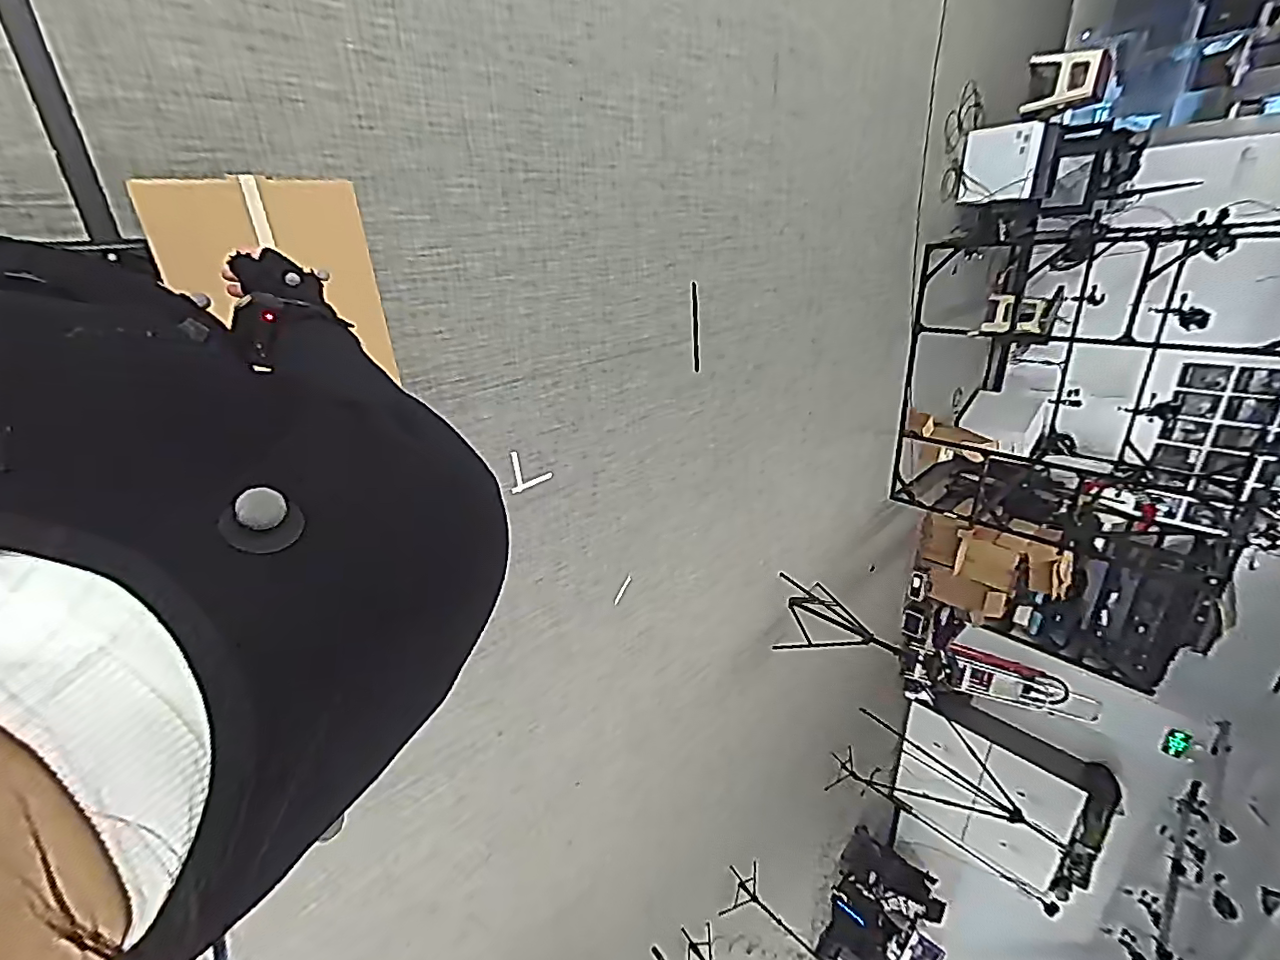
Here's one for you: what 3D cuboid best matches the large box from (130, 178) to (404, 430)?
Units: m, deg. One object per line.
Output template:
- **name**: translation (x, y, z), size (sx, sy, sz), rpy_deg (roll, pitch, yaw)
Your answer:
- **large box**: translation (-0.713, -0.359, 1.070), size (0.320, 0.320, 0.408), rpy_deg (-19, 120, -31)
